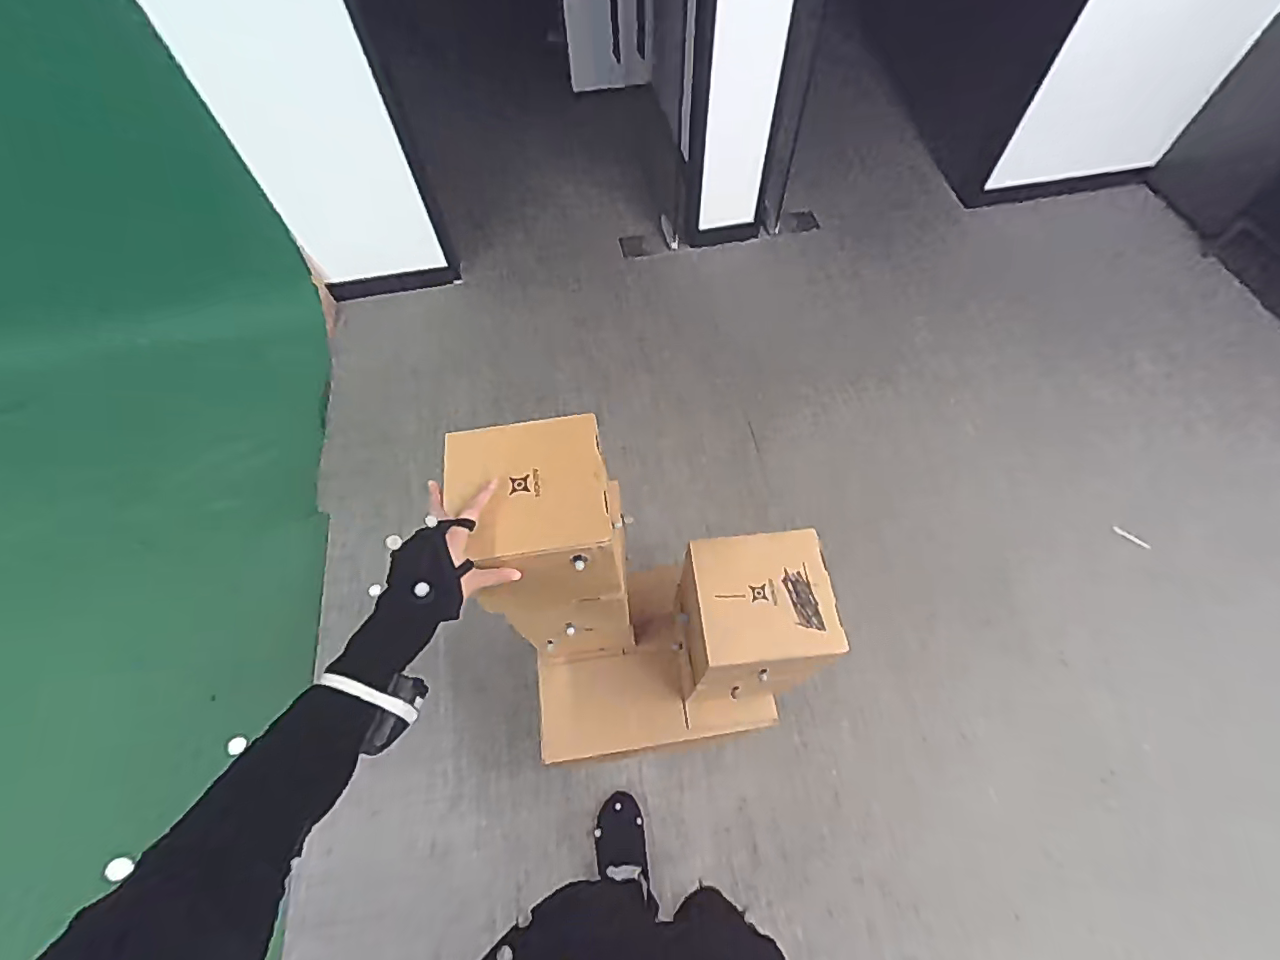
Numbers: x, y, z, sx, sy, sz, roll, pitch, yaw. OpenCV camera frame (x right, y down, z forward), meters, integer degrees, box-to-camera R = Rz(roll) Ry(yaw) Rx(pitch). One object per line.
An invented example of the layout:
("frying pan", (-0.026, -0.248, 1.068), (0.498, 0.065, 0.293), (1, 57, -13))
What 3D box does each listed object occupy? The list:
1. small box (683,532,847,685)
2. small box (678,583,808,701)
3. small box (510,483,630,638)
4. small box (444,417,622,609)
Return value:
("small box", (0.160, 0.185, 0.758), (0.179, 0.176, 0.168), (-5, 61, -2))
("small box", (0.159, 0.266, 0.901), (0.179, 0.176, 0.168), (-6, 63, -2))
("small box", (-0.103, 0.123, 0.803), (0.168, 0.176, 0.179), (-4, 61, 0))
("small box", (-0.122, 0.047, 0.659), (0.179, 0.176, 0.168), (-9, 61, -3))
